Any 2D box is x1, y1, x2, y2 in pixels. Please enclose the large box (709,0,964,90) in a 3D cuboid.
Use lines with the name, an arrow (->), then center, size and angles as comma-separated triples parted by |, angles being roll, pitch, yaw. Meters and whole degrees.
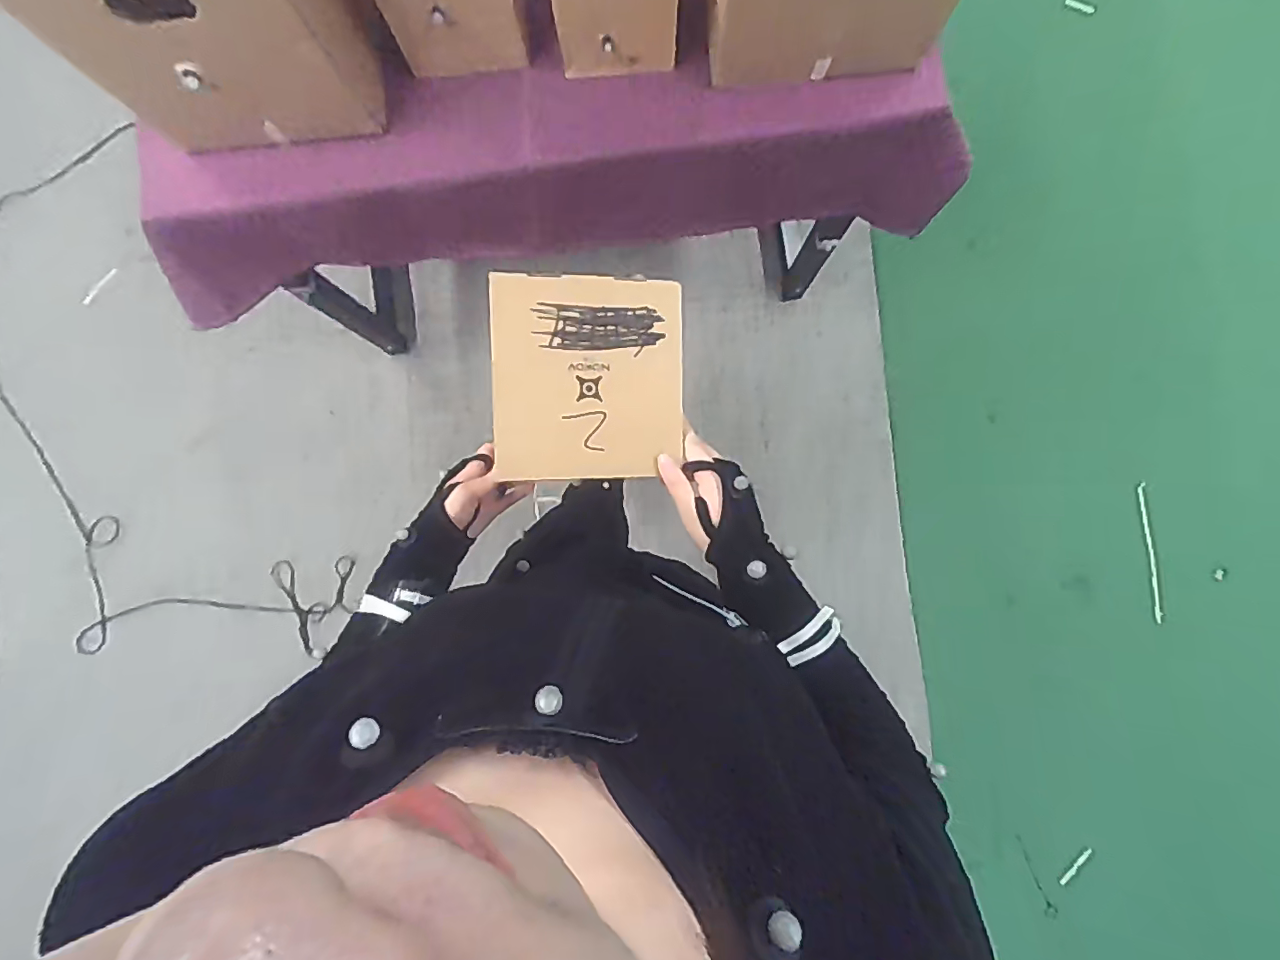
large box -> 0.252, -0.802, 0.678 | 0.320, 0.320, 0.408 | -5, 87, 0
